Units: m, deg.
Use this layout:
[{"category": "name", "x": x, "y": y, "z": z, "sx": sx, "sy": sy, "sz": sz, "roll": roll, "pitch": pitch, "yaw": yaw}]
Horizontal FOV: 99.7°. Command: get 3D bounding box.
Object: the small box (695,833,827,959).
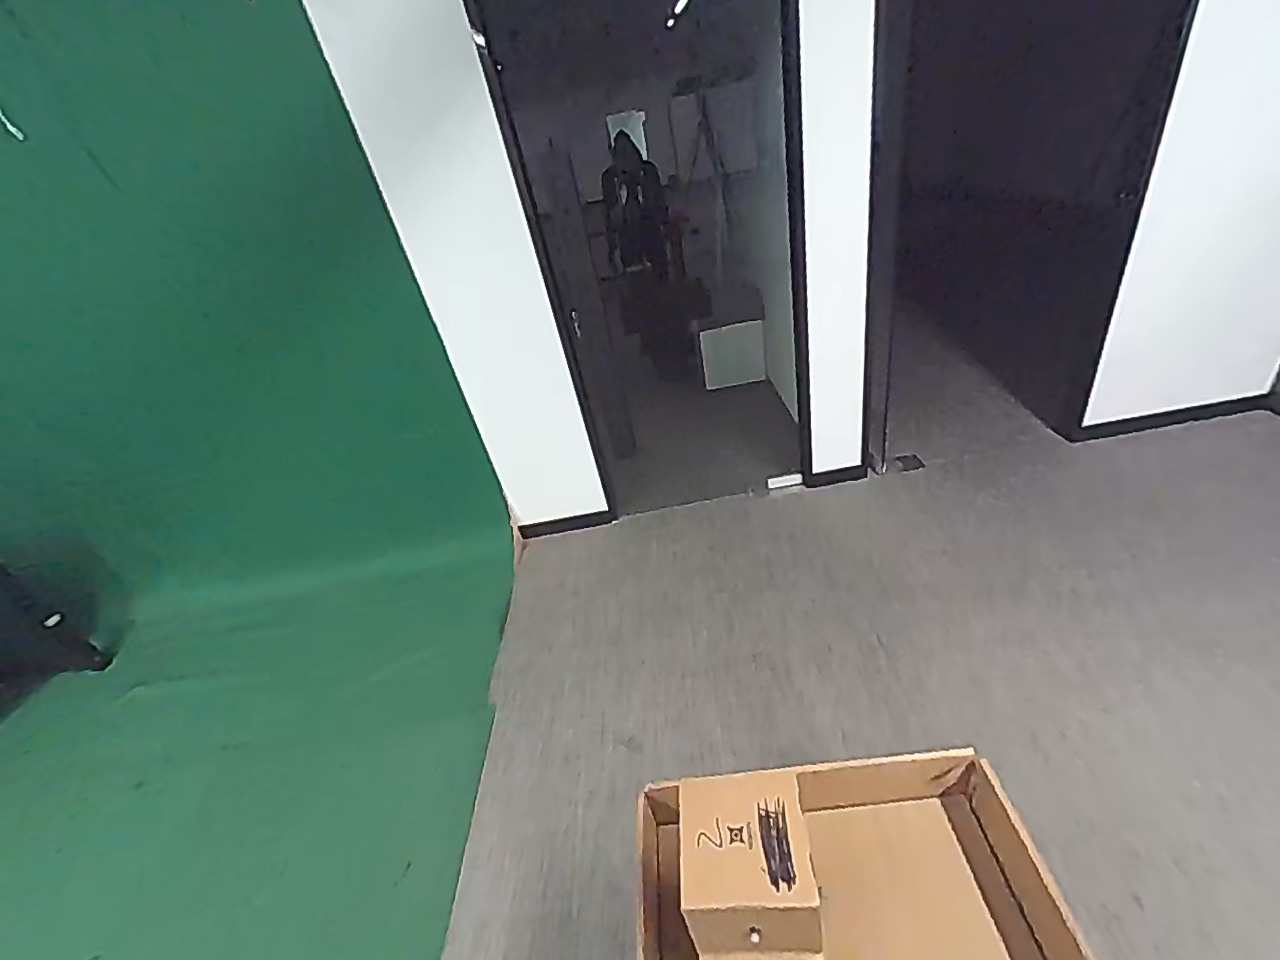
[{"category": "small box", "x": 0.186, "y": 0.688, "z": 0.853, "sx": 0.179, "sy": 0.176, "sz": 0.168, "roll": -9, "pitch": 32, "yaw": 7}]
